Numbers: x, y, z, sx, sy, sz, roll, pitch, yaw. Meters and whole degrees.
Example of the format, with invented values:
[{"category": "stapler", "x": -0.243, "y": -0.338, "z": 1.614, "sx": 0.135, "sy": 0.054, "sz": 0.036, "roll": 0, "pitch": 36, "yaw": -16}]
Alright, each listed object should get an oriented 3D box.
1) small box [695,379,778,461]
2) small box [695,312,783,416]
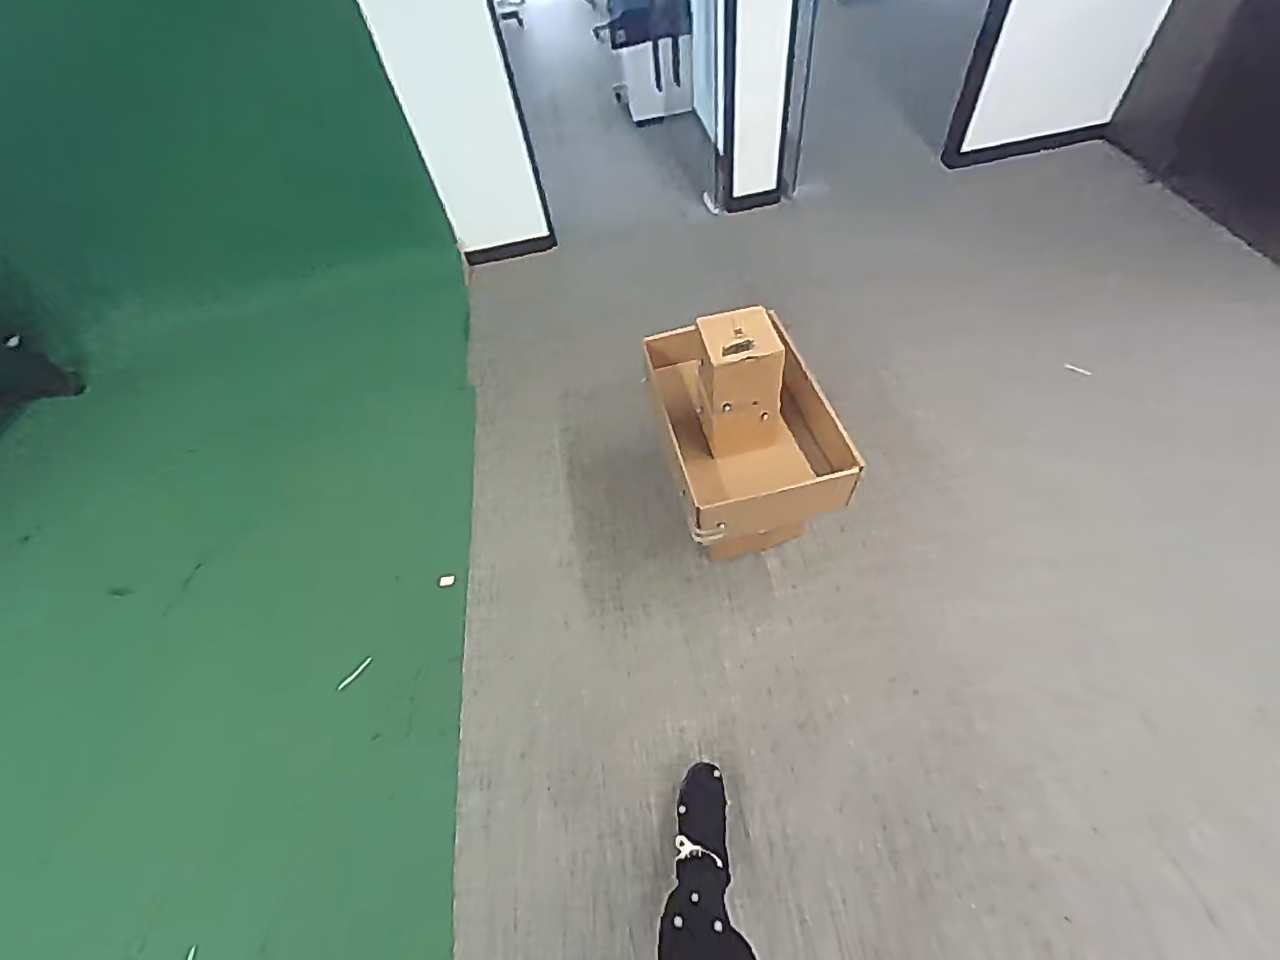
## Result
[{"category": "small box", "x": 0.252, "y": -0.170, "z": 1.430, "sx": 0.179, "sy": 0.176, "sz": 0.168, "roll": -13, "pitch": 52, "yaw": -2}, {"category": "small box", "x": 0.234, "y": -0.272, "z": 1.302, "sx": 0.168, "sy": 0.176, "sz": 0.179, "roll": -11, "pitch": 52, "yaw": -1}]
